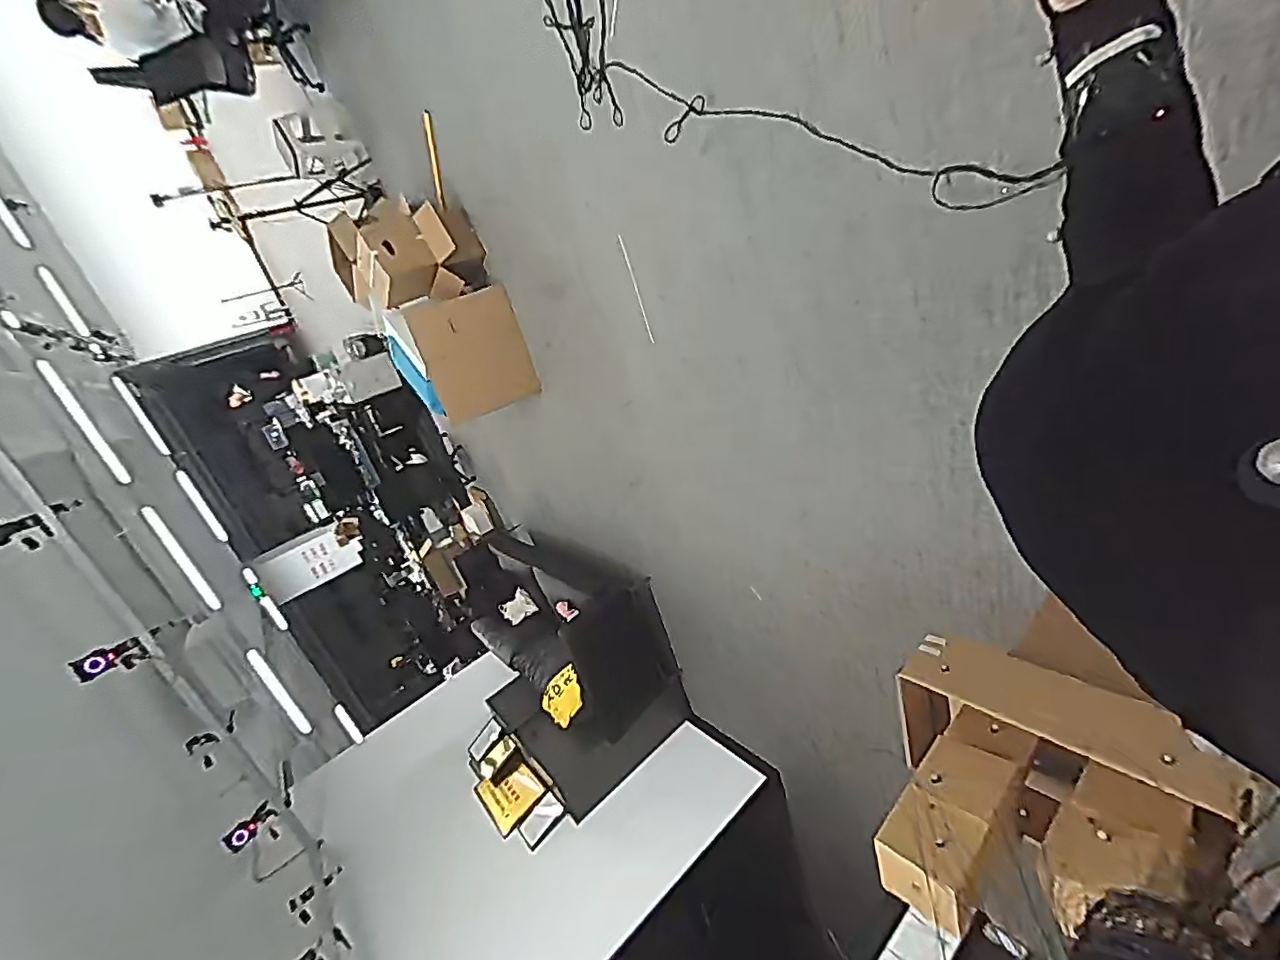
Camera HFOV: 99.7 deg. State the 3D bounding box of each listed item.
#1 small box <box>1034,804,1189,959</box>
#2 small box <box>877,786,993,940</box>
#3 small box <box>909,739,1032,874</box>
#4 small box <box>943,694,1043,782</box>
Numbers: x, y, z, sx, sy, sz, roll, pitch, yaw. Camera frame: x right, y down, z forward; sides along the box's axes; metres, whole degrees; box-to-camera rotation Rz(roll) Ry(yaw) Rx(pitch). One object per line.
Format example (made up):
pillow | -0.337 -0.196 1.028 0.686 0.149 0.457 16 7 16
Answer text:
small box | 0.915 0.783 1.047 0.168 0.176 0.179 -15 103 58
small box | 0.635 0.809 1.162 0.168 0.176 0.179 11 126 50
small box | 0.757 0.730 1.236 0.179 0.176 0.168 -1 118 54
small box | 0.870 0.674 1.345 0.168 0.176 0.179 23 134 45
